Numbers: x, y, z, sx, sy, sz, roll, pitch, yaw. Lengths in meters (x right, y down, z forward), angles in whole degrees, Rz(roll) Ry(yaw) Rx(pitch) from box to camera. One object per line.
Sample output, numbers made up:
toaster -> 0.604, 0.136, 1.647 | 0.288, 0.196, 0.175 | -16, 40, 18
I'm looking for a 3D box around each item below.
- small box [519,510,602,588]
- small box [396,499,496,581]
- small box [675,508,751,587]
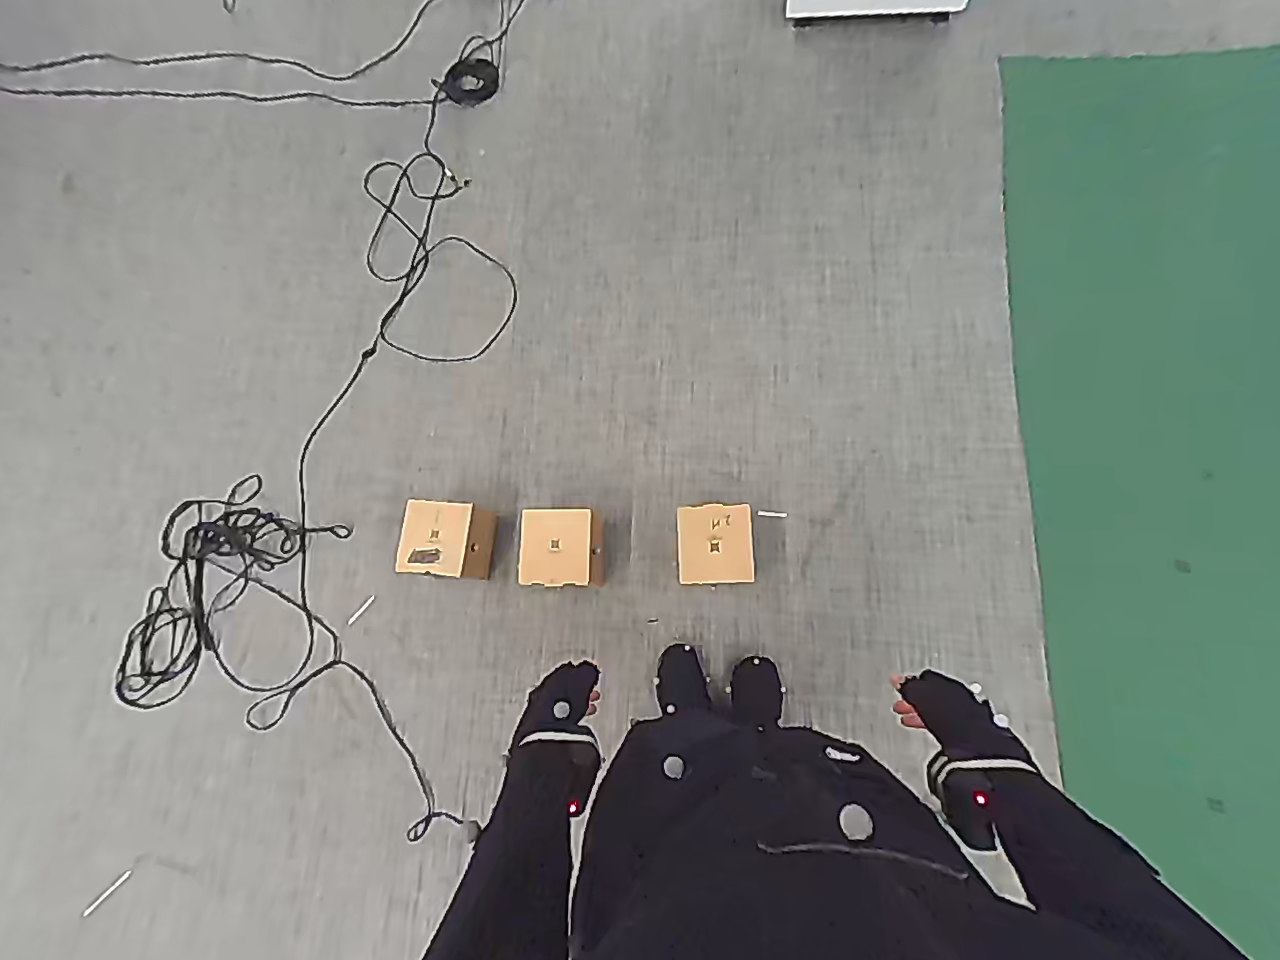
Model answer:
small box -> -0.187, 0.173, 1.322 | 0.168, 0.176, 0.179 | -1, 78, 6
small box -> -0.476, 0.155, 1.354 | 0.168, 0.176, 0.179 | 4, 76, 7
small box -> 0.171, 0.165, 1.285 | 0.168, 0.176, 0.179 | -2, 77, 5
